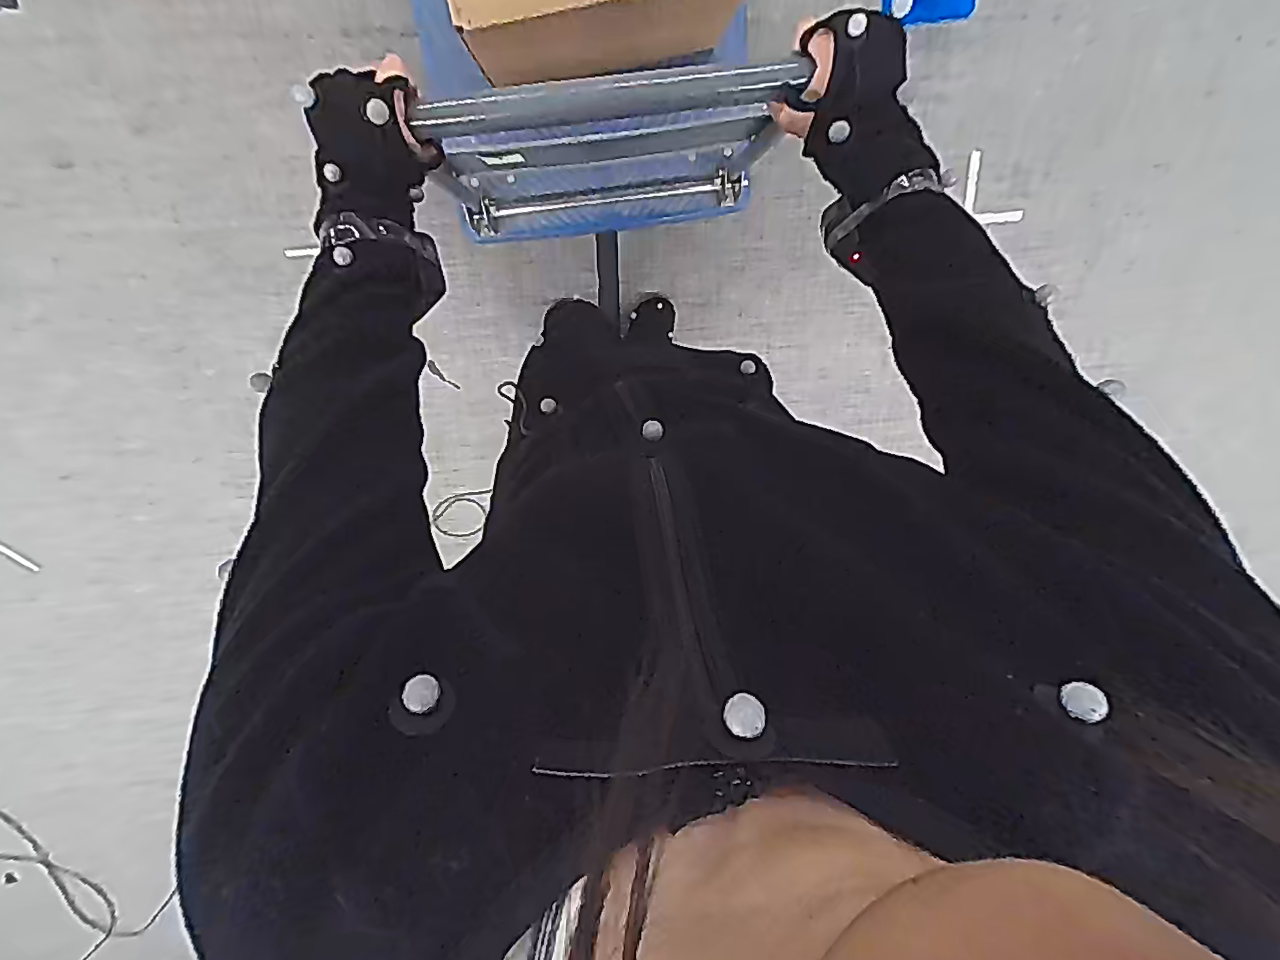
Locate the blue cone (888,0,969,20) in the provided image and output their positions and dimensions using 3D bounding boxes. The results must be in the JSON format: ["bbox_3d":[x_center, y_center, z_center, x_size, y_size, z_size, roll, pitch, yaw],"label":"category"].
[{"bbox_3d":[0.611,-1.000,0.949,0.193,0.380,0.192,-7,112,-2],"label":"blue cone"}]
